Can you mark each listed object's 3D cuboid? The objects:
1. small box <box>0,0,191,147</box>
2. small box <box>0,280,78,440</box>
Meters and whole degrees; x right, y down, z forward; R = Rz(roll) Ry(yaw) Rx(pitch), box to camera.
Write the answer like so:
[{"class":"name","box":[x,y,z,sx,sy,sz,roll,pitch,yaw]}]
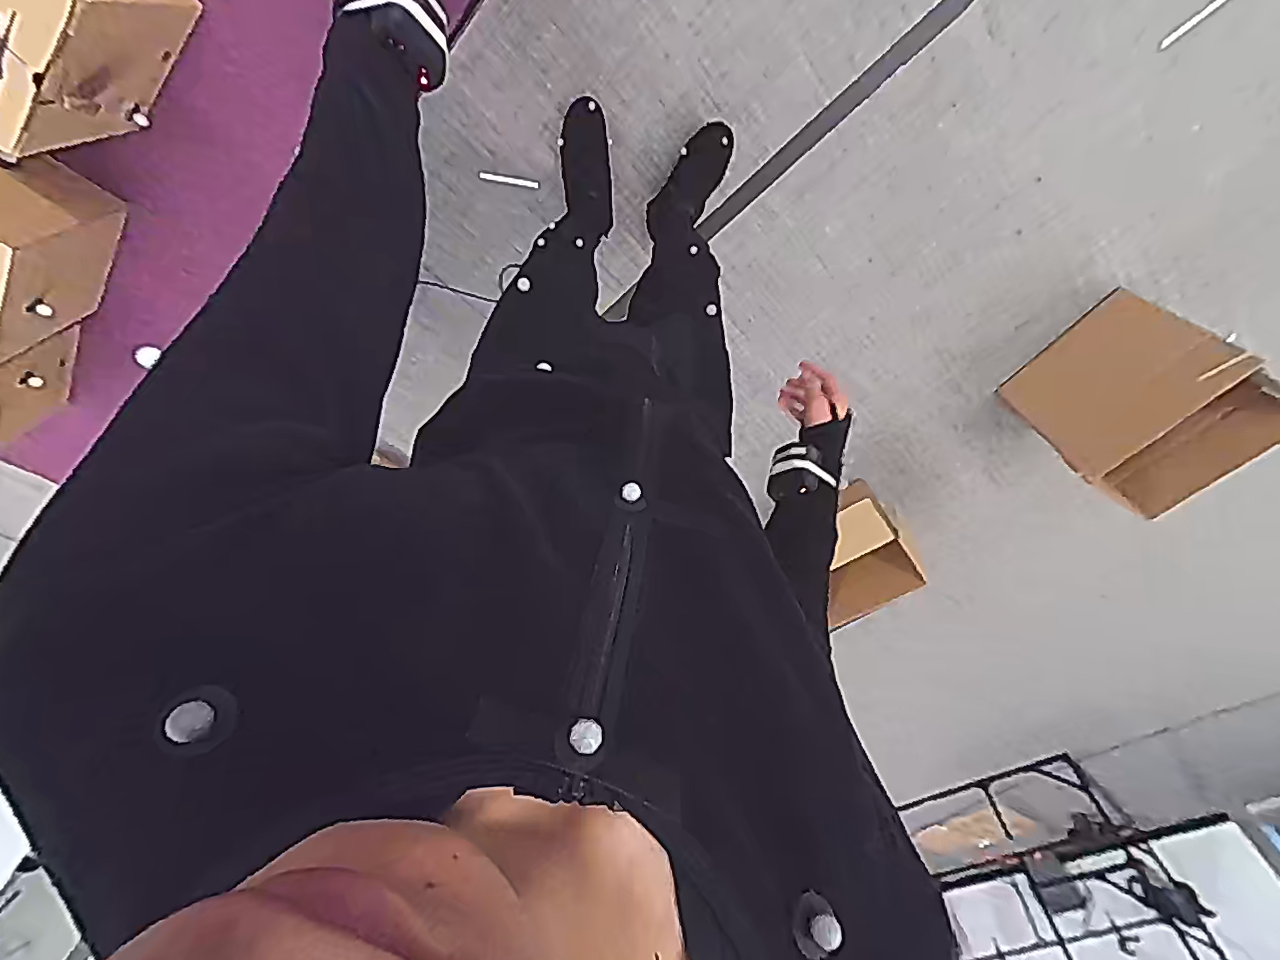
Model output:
[{"class":"small box","box":[-0.546,-0.433,0.460,0.168,0.176,0.179,-34,123,23]},{"class":"small box","box":[-0.869,-0.161,0.674,0.179,0.176,0.168,31,121,-25]}]
